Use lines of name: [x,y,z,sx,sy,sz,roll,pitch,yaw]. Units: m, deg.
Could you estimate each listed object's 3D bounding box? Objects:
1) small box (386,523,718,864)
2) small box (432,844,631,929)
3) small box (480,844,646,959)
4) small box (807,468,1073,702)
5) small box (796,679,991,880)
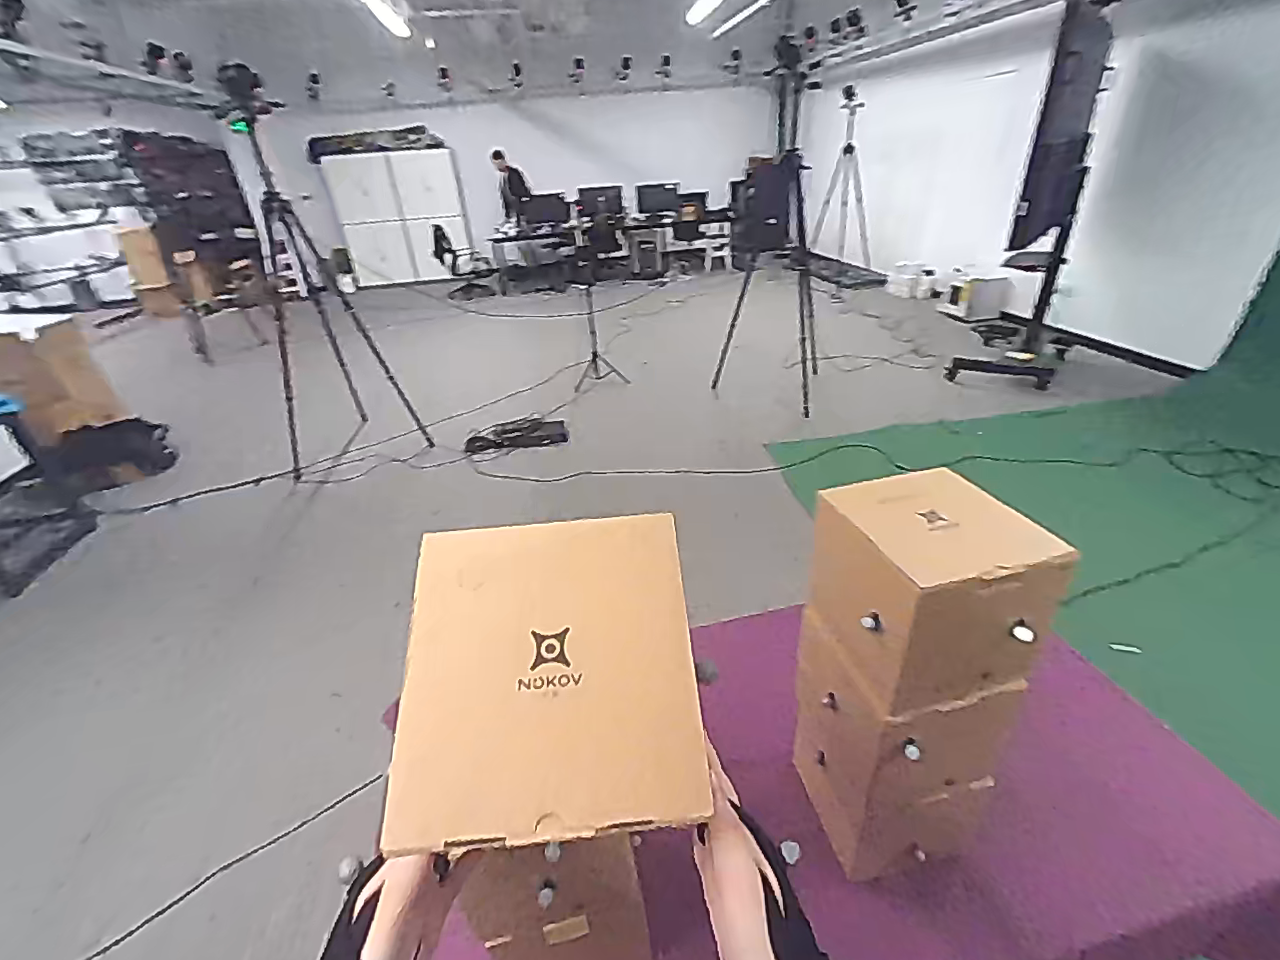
small box: [-0.048,0.148,0.375,0.168,0.176,0.179,-5,59,-2]
small box: [-0.108,0.339,0.579,0.168,0.176,0.179,-9,32,-8]
small box: [-0.093,0.480,0.662,0.168,0.176,0.179,-10,30,-10]
small box: [0.297,0.112,0.581,0.168,0.176,0.179,-10,30,-10]
small box: [0.326,0.397,0.740,0.168,0.176,0.179,-10,31,-7]
